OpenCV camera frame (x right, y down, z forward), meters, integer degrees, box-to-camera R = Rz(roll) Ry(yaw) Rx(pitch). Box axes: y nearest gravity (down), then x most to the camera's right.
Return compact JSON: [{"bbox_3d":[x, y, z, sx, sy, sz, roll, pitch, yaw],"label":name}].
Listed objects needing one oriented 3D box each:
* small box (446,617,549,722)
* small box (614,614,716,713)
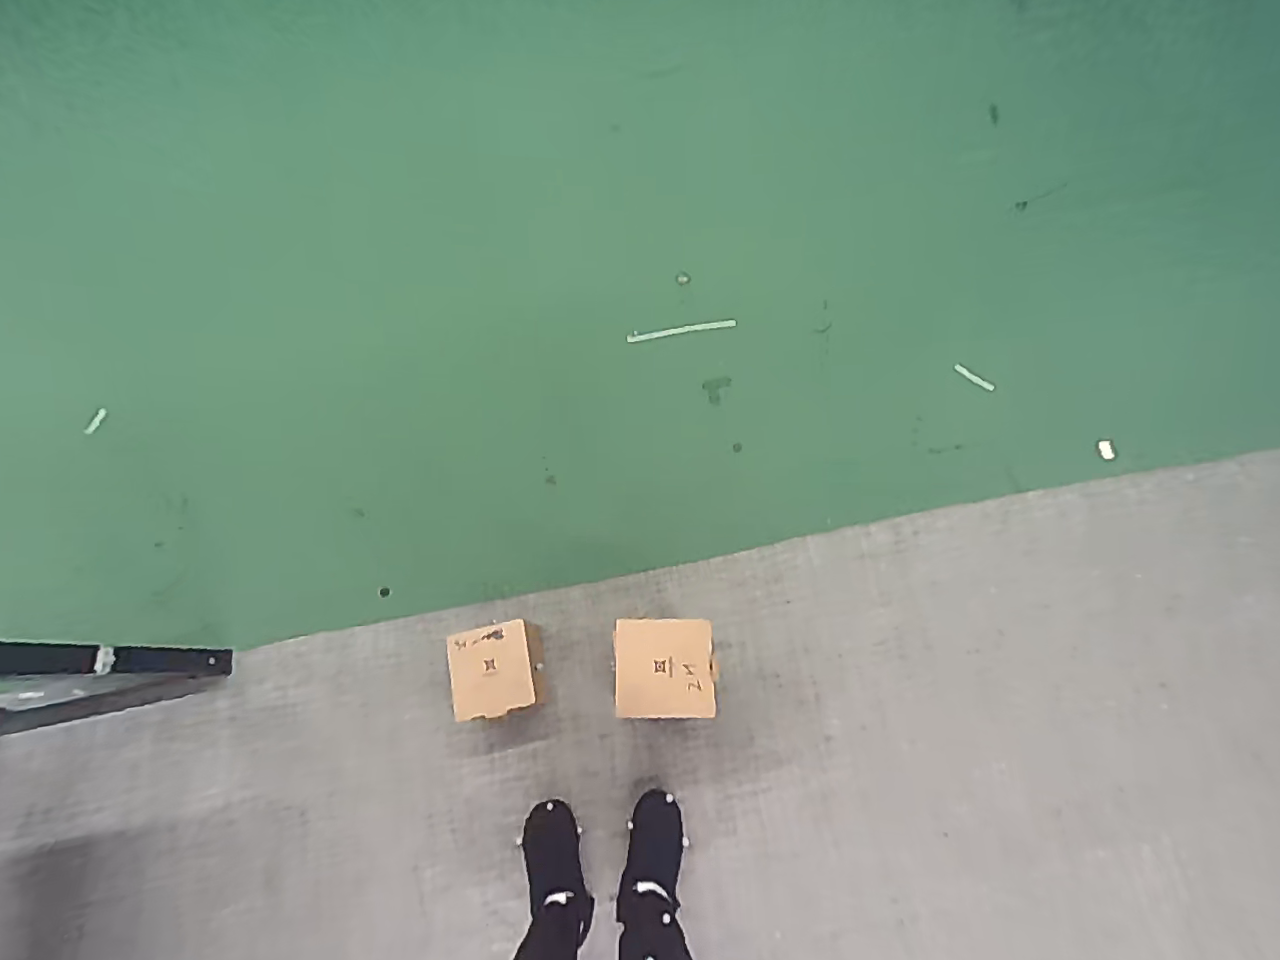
[{"bbox_3d":[-0.301,0.405,1.169,0.168,0.176,0.179,-13,71,-3],"label":"small box"},{"bbox_3d":[0.044,0.341,1.012,0.179,0.176,0.168,-1,72,0],"label":"small box"}]
